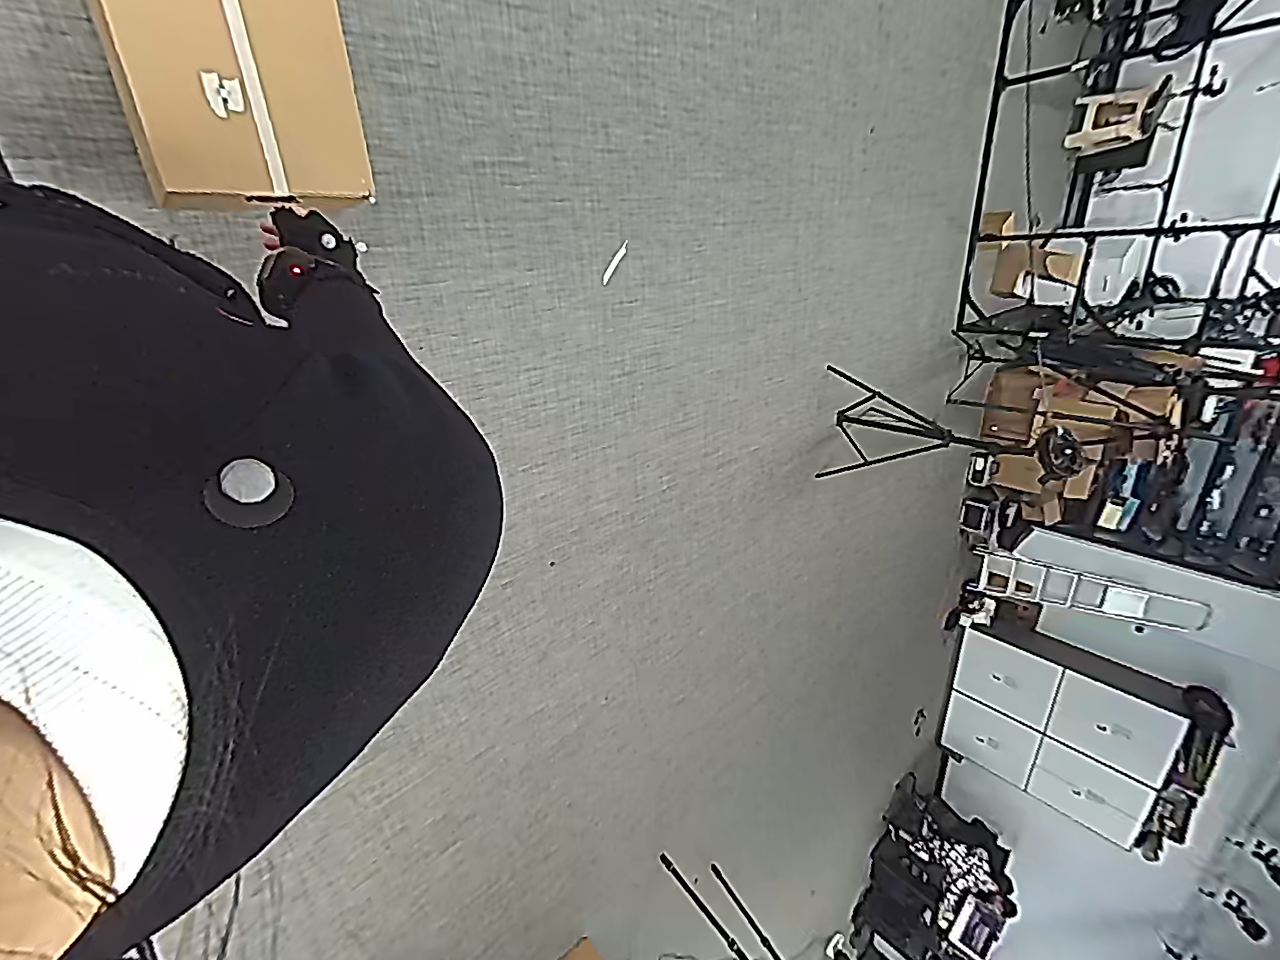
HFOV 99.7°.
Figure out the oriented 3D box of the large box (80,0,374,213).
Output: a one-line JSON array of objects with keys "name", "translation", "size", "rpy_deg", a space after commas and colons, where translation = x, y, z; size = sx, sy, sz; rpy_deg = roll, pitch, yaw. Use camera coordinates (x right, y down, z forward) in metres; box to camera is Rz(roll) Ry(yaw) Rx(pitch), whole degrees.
[{"name": "large box", "translation": [-0.724, -0.705, 0.950], "size": [0.320, 0.320, 0.408], "rpy_deg": [-21, 119, -36]}]
